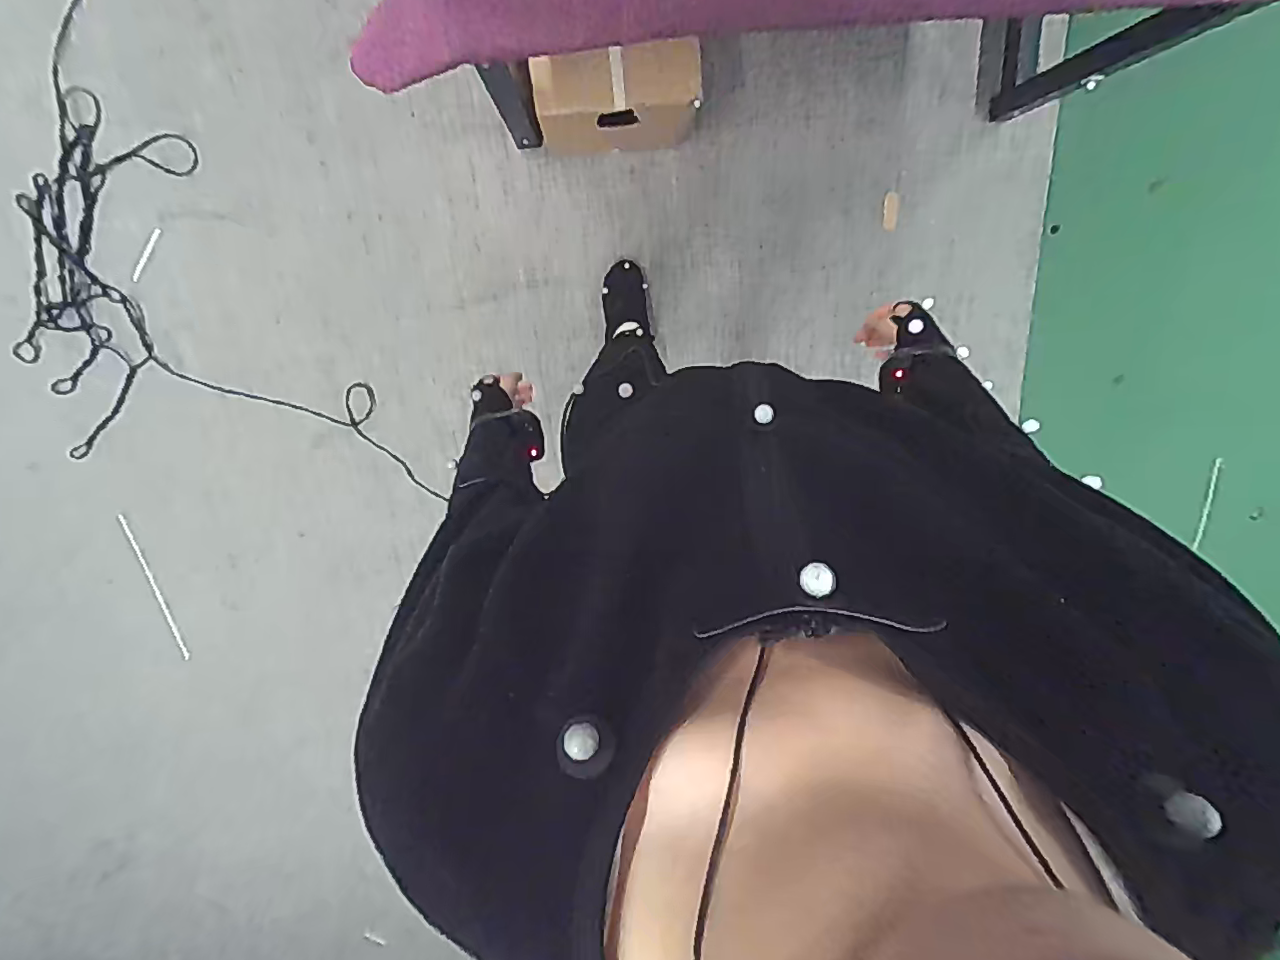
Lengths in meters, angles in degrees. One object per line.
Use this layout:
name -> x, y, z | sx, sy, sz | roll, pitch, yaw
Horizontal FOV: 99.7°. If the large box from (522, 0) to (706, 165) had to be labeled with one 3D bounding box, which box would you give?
large box -> -0.062, -0.900, 1.079 | 0.320, 0.320, 0.408 | -7, 109, -1
